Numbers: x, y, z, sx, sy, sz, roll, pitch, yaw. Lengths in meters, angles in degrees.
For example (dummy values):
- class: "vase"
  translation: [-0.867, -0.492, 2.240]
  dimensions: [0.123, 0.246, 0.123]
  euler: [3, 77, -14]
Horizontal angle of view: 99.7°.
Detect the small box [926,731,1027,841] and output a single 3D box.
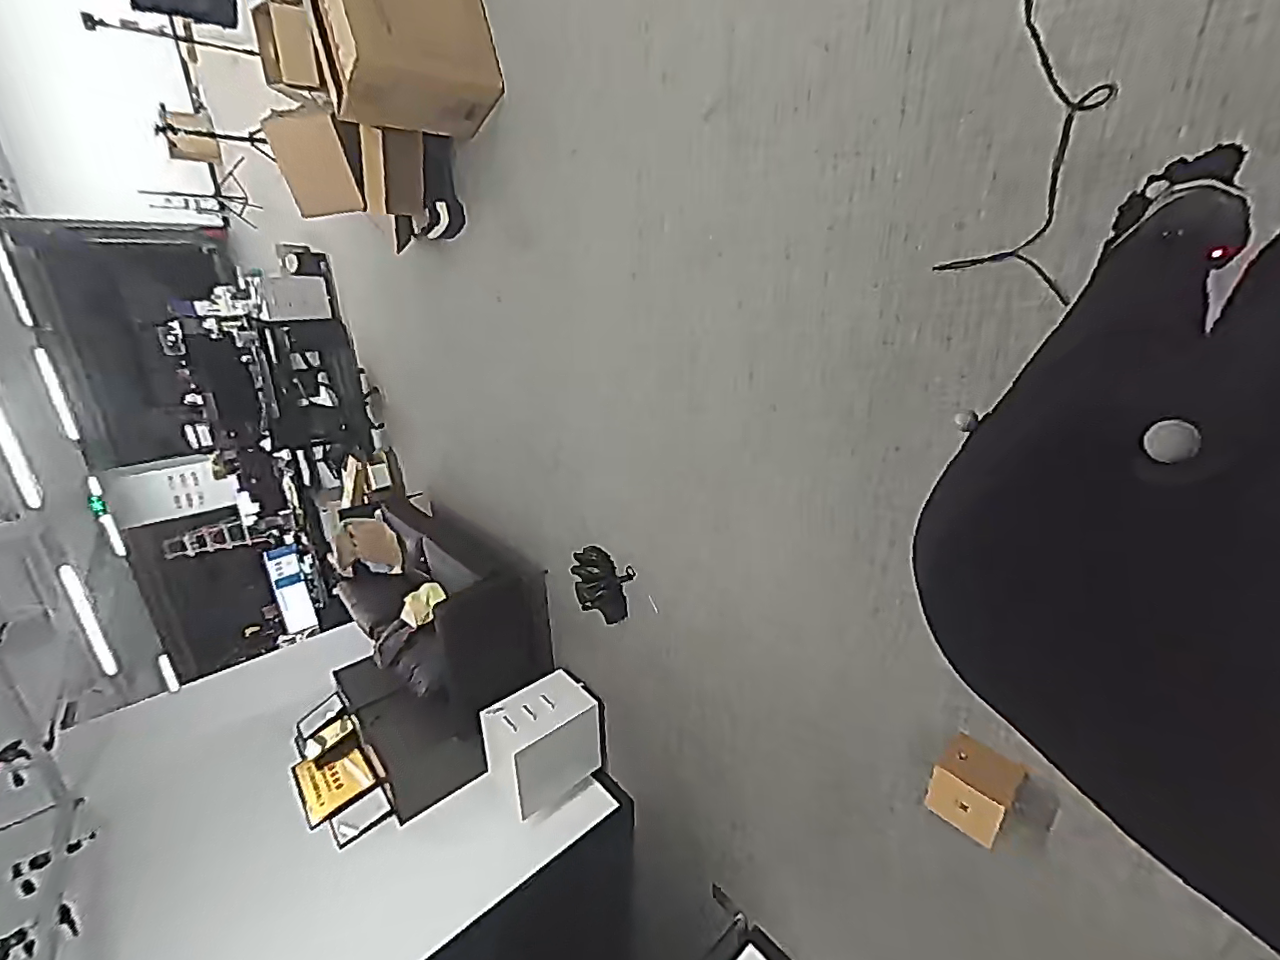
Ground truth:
- class: "small box"
  translation: [0.929, 0.830, 1.495]
  dimensions: [0.179, 0.176, 0.168]
  euler: [22, 123, 43]
